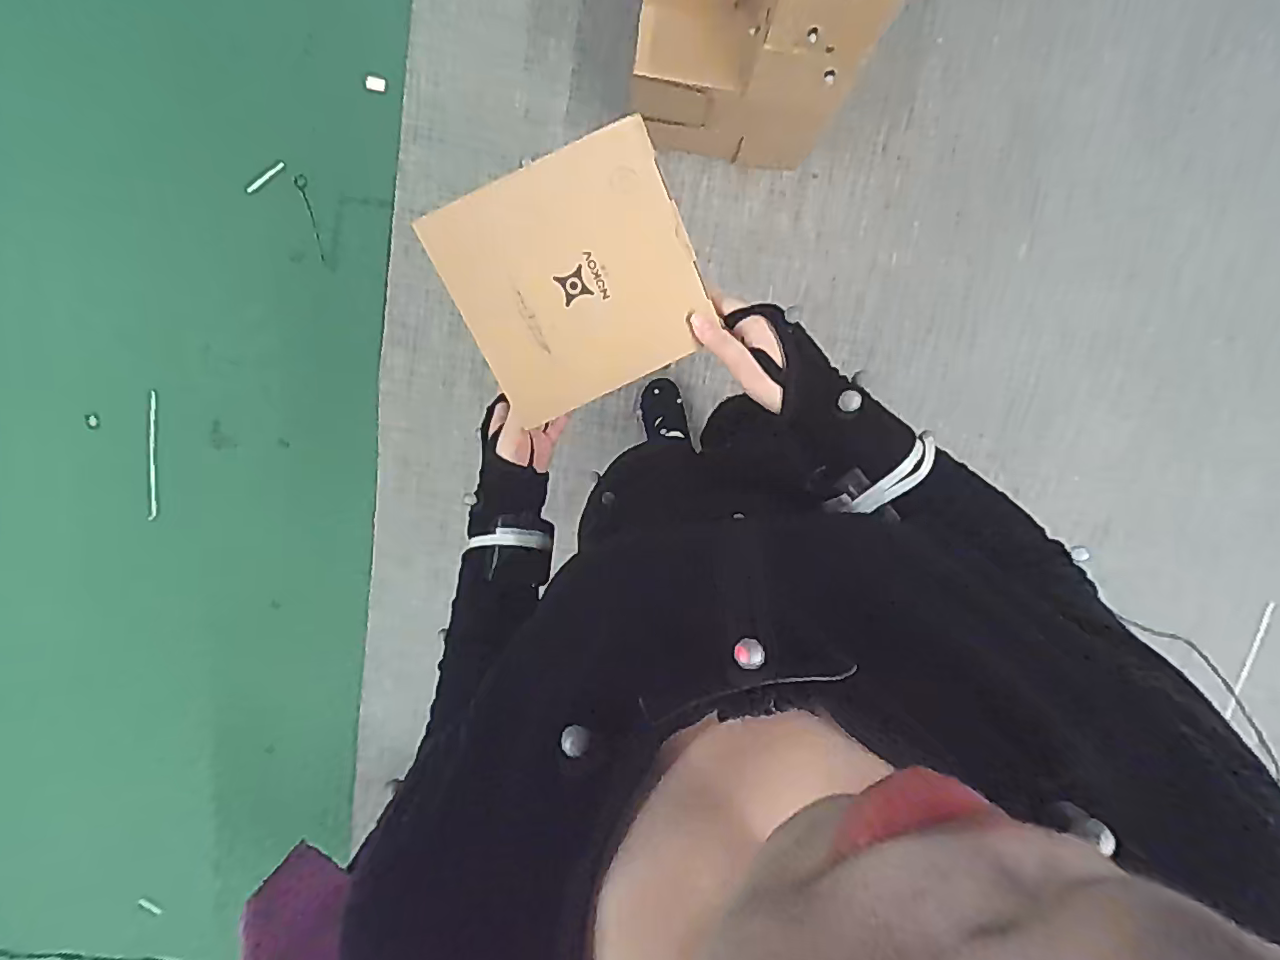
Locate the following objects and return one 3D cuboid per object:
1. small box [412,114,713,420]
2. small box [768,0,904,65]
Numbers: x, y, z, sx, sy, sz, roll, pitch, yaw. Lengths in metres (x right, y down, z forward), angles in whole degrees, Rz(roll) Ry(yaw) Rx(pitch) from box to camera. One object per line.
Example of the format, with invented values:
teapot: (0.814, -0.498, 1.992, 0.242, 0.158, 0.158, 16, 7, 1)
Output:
small box: (-0.060, -0.173, 0.471, 0.179, 0.176, 0.168, -23, 108, 1)
small box: (0.294, -0.756, 0.783, 0.168, 0.176, 0.179, 10, 101, 0)
